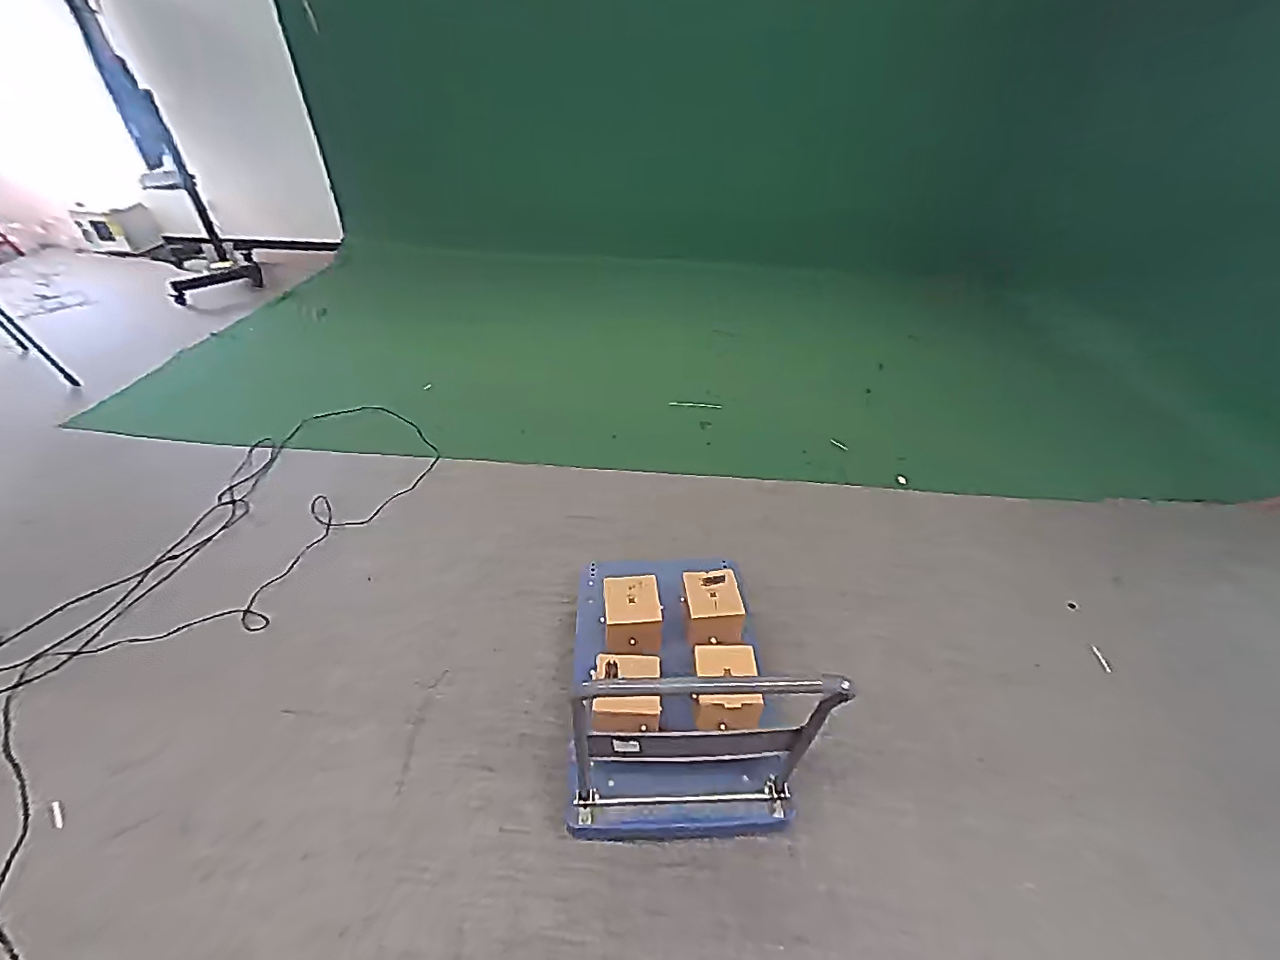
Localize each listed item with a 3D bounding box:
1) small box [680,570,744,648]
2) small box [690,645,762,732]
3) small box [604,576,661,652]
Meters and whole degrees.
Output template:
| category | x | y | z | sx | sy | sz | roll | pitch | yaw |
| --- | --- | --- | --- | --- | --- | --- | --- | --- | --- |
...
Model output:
| category | x | y | z | sx | sy | sz | roll | pitch | yaw |
| --- | --- | --- | --- | --- | --- | --- | --- | --- | --- |
| small box | 0.224 | 0.413 | 1.732 | 0.168 | 0.176 | 0.179 | -4 | 41 | -4 |
| small box | 0.236 | 0.588 | 1.526 | 0.168 | 0.176 | 0.179 | 0 | 40 | -2 |
| small box | -0.026 | 0.428 | 1.708 | 0.168 | 0.176 | 0.179 | -2 | 40 | -6 |
